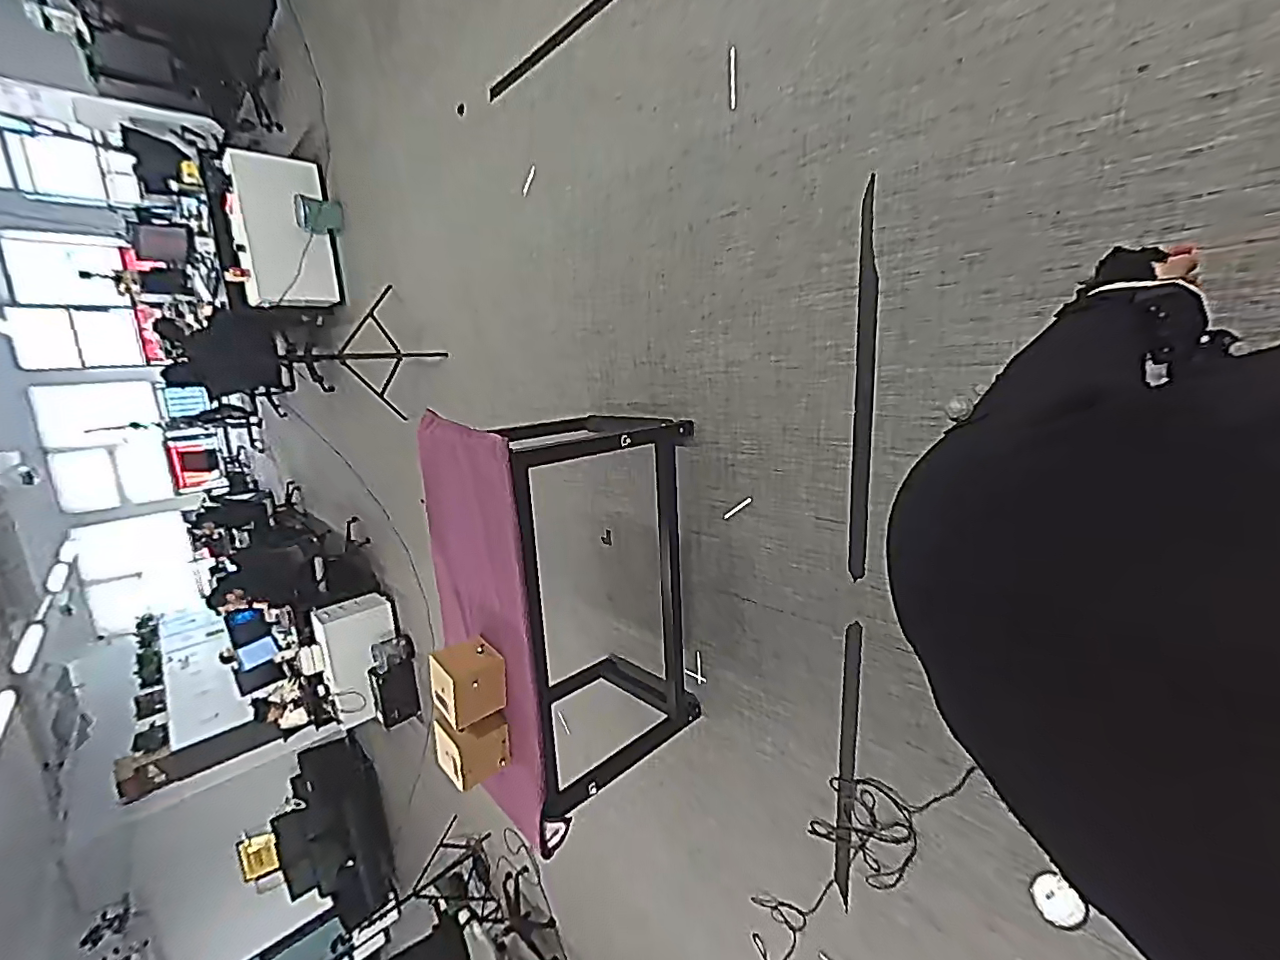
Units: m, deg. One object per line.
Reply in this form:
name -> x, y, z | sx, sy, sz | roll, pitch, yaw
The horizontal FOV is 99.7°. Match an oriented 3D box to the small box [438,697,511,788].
small box -> -0.526, 0.834, 1.739 | 0.179, 0.176, 0.168 | 18, 113, 44
